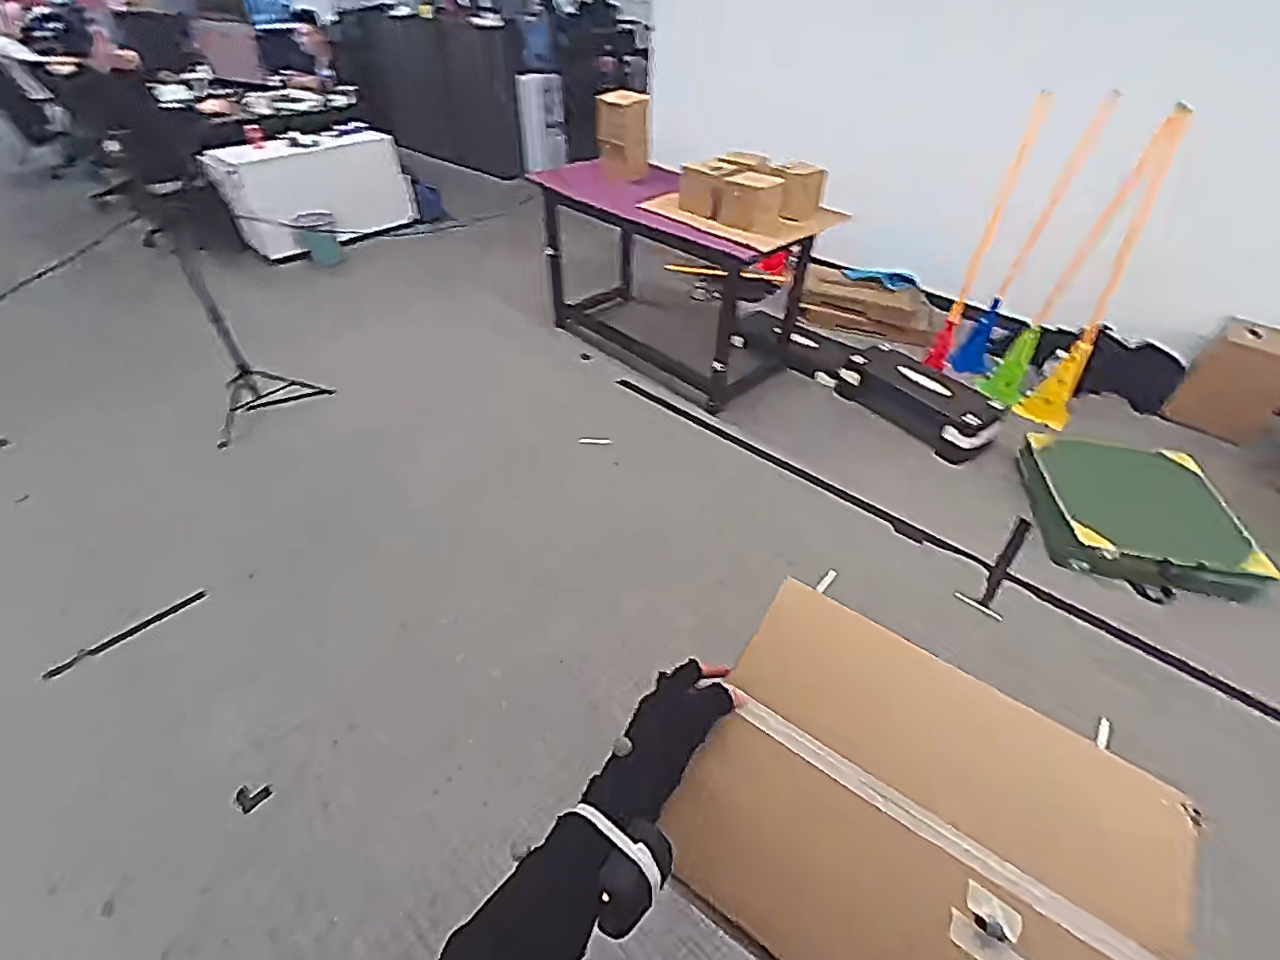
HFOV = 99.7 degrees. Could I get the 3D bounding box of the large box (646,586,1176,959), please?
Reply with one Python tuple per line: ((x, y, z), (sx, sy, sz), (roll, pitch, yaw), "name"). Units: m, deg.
((0.253, 0.397, 0.616), (0.408, 0.320, 0.320), (29, 60, 19), "large box")
